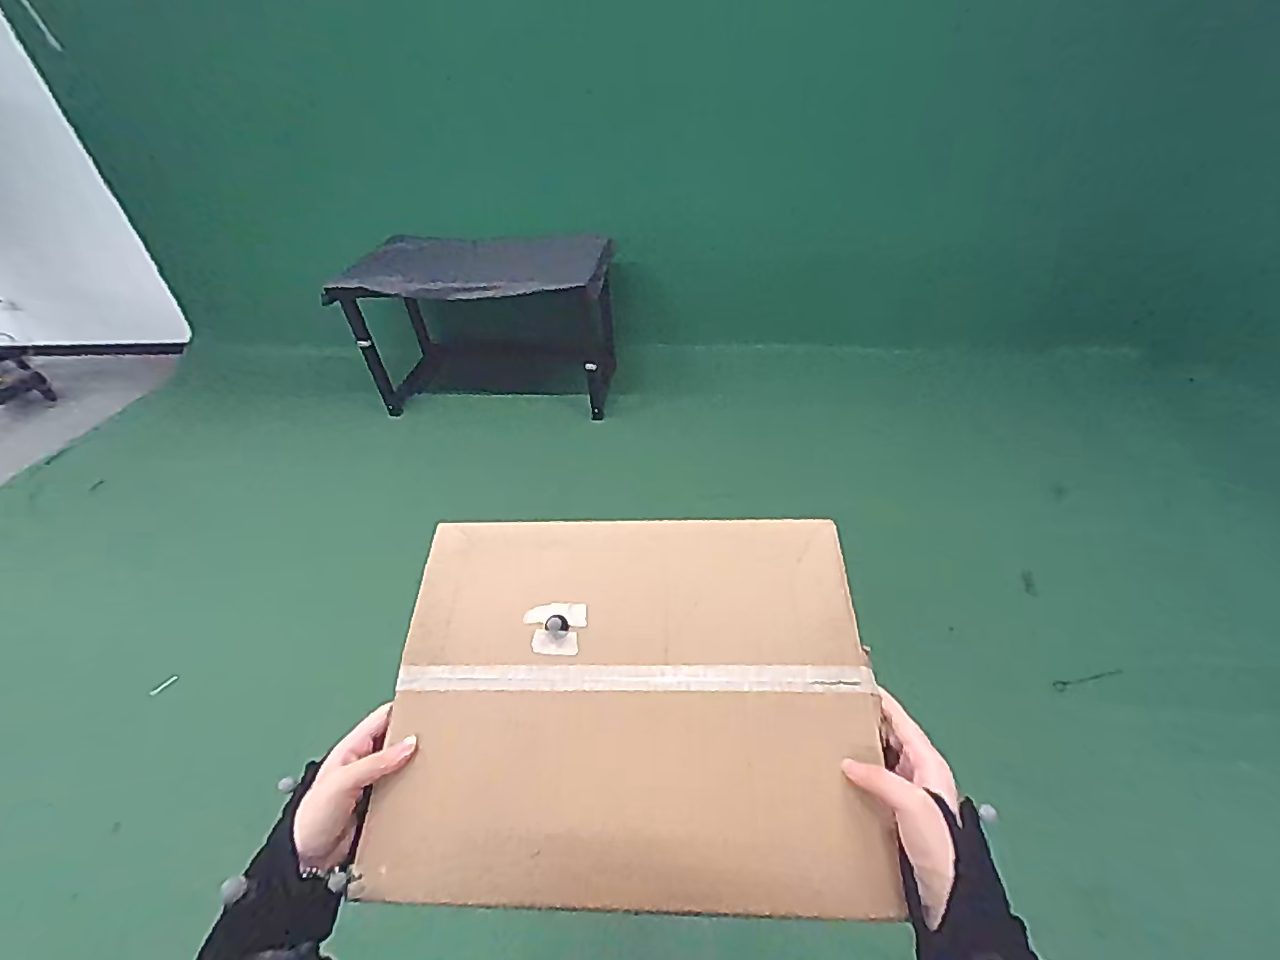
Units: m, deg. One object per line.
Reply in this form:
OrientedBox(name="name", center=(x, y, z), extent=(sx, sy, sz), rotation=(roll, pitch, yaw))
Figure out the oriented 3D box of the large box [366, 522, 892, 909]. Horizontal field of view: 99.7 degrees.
OrientedBox(name="large box", center=(-0.001, 0.260, 0.605), extent=(0.408, 0.320, 0.320), rotation=(-2, 57, 5))
